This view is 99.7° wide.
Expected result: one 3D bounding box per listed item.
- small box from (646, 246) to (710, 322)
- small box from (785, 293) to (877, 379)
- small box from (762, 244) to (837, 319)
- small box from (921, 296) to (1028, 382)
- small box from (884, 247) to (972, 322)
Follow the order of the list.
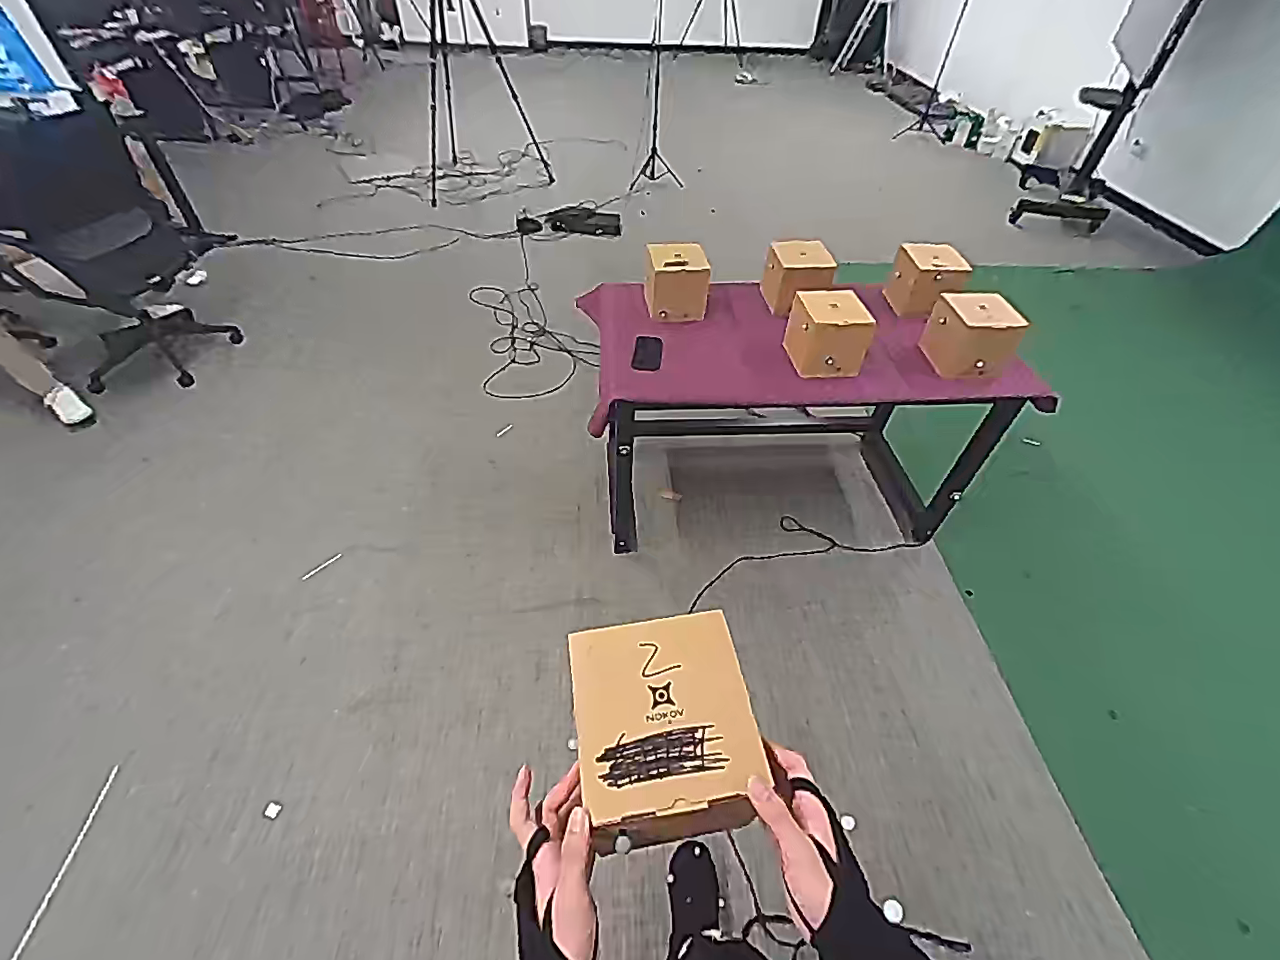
[{"bbox_3d":[0.112,-0.600,1.664,0.168,0.176,0.179,-4,47,-7],"label":"small box"},{"bbox_3d":[0.517,-0.398,1.495,0.168,0.176,0.179,-2,46,-5],"label":"small box"},{"bbox_3d":[0.497,-0.629,1.713,0.168,0.176,0.179,-2,48,-4],"label":"small box"},{"bbox_3d":[0.917,-0.394,1.505,0.168,0.176,0.179,0,47,-1],"label":"small box"},{"bbox_3d":[0.908,-0.623,1.725,0.168,0.176,0.179,0,46,-2],"label":"small box"}]
